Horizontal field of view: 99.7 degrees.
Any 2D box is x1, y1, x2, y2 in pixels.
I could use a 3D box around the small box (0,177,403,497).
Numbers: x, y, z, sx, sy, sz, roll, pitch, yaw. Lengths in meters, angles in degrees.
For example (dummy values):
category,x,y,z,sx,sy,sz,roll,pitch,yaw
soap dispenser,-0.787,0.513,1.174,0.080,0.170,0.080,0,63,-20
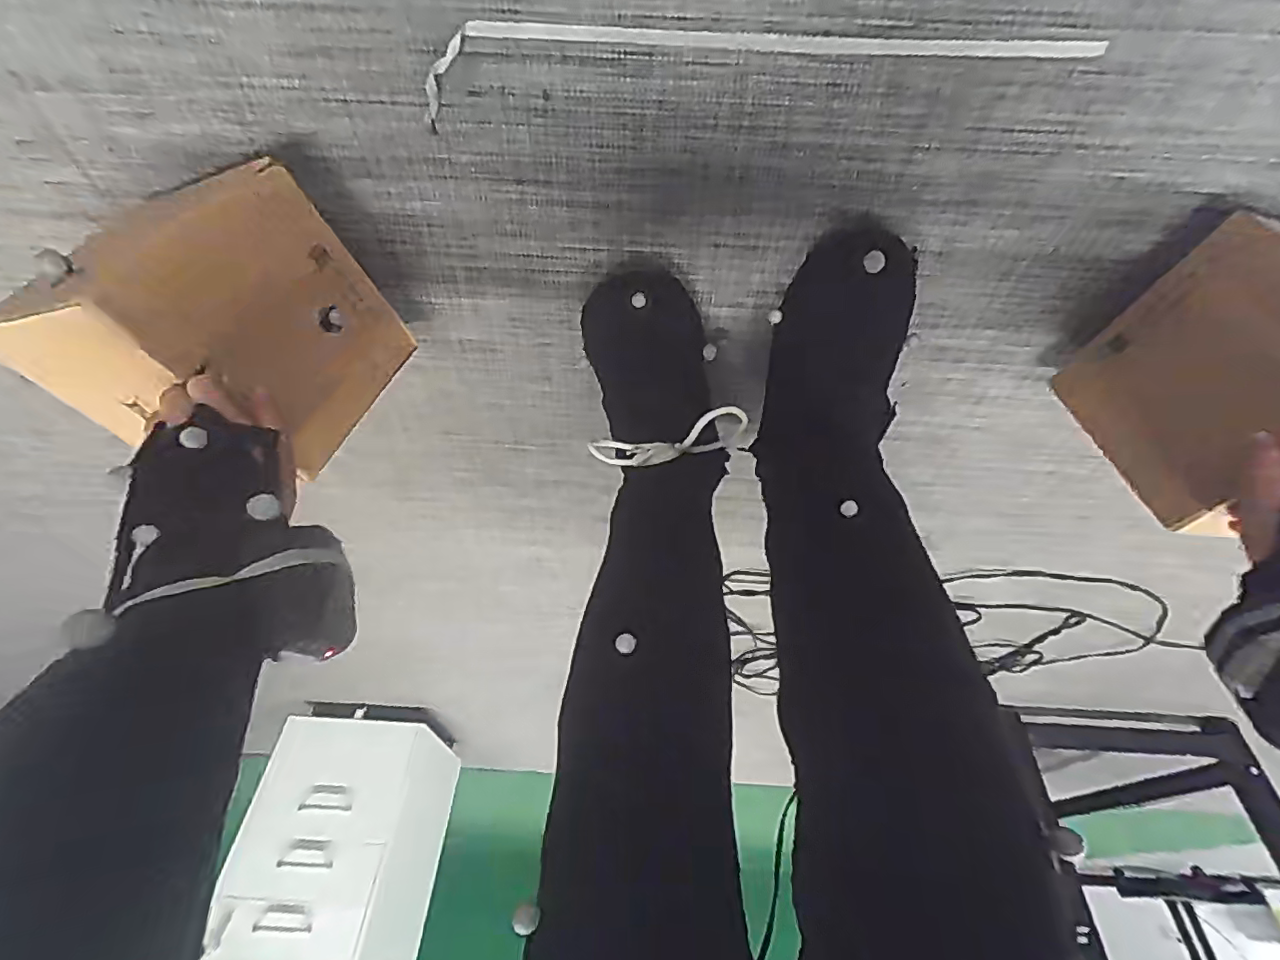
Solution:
category,x,y,z,sx,sy,sz,roll,pitch,yaw
small box,-0.331,-0.105,0.425,0.179,0.176,0.168,1,143,23
